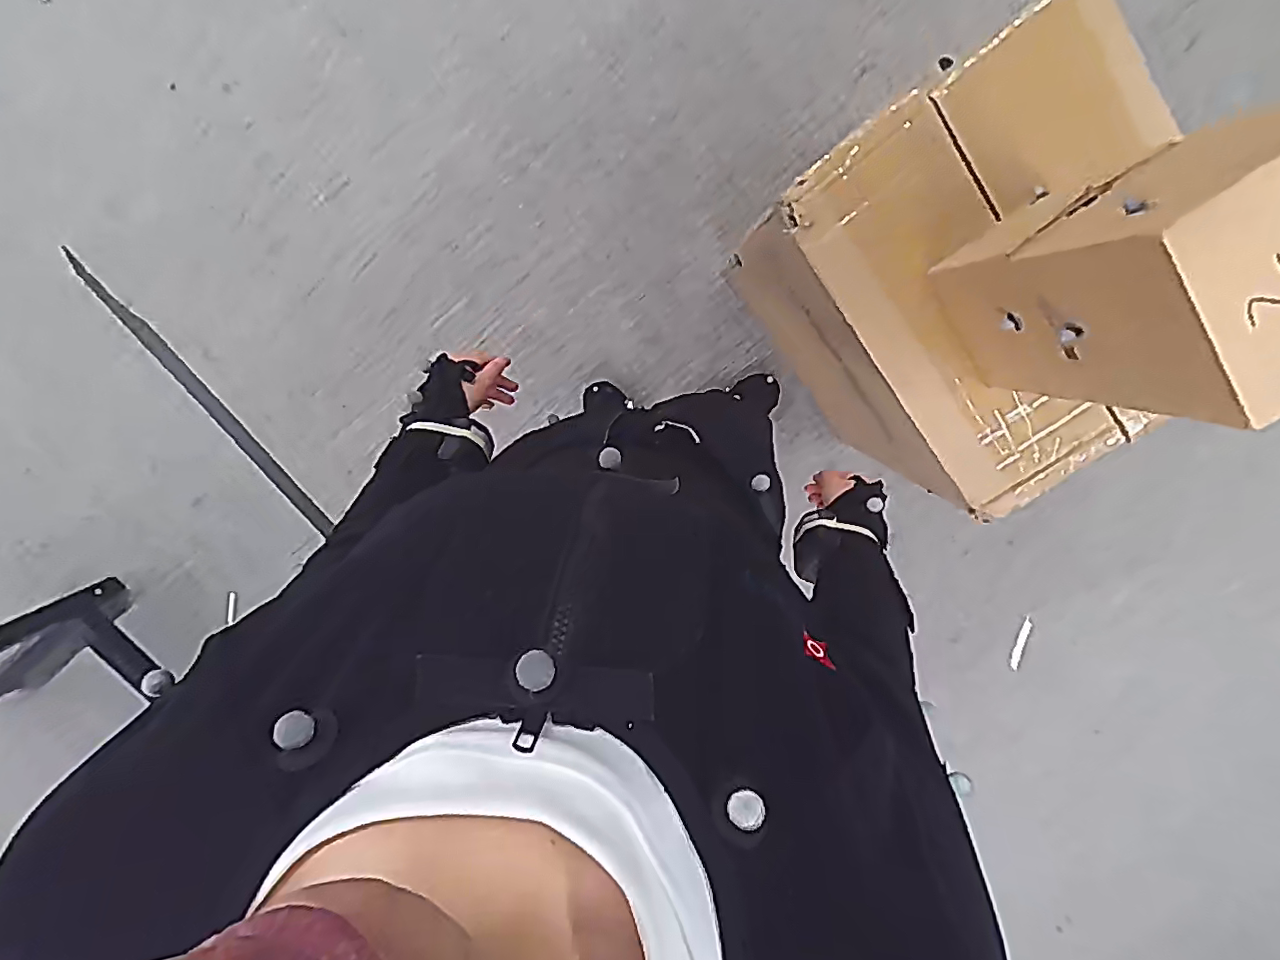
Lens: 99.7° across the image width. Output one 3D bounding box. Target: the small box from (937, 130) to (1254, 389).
[{"bbox_3d":[0.465,-0.219,0.583,0.168,0.176,0.179,-34,101,11],"label":"small box"}]
